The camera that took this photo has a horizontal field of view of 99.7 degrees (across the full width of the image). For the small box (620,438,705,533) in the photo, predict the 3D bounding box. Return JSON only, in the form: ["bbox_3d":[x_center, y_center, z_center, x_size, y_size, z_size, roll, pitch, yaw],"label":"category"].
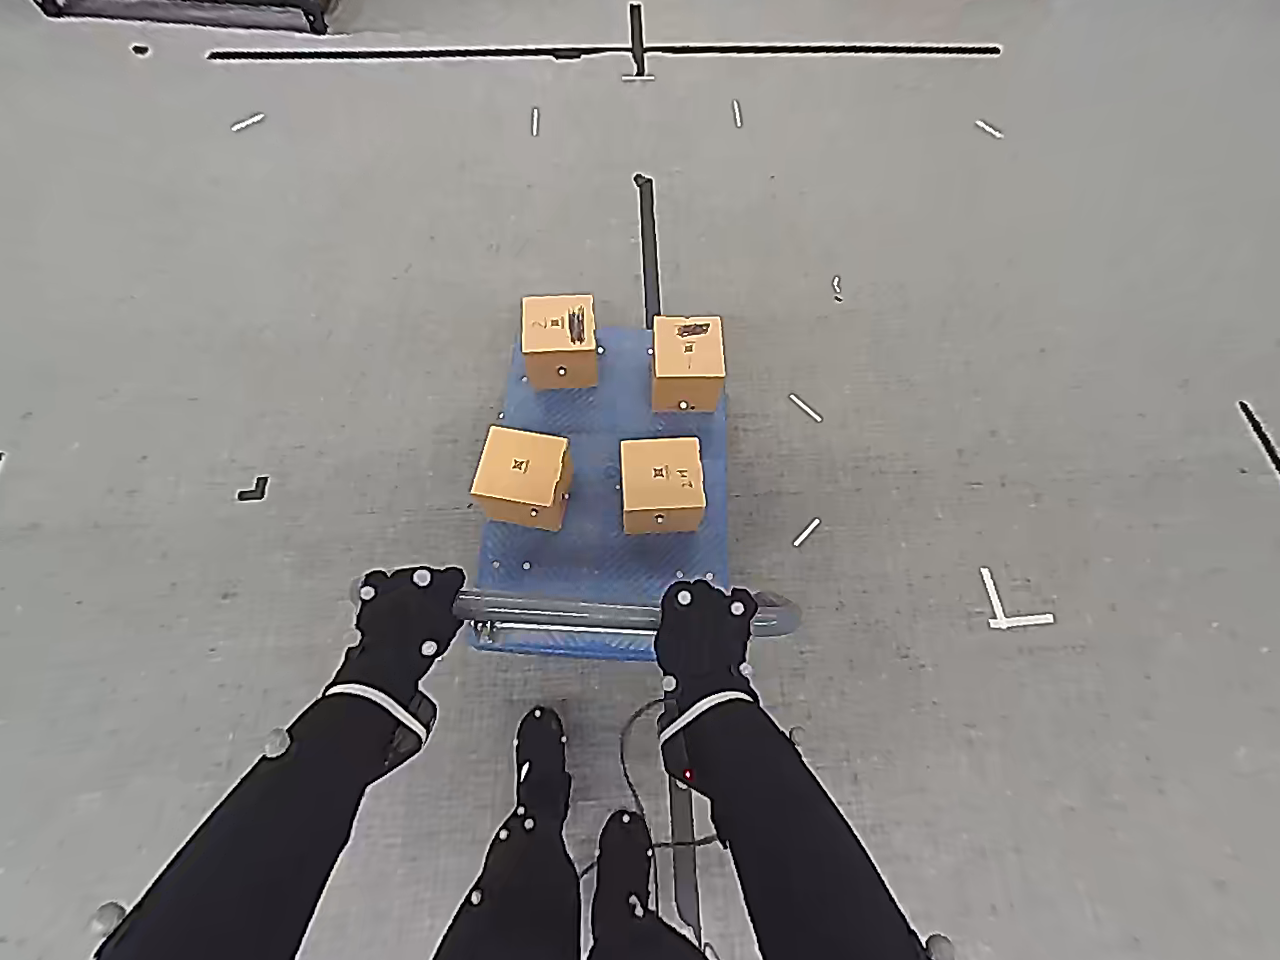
[{"bbox_3d":[0.047,0.018,1.226,0.179,0.176,0.168,-2,68,-2],"label":"small box"}]

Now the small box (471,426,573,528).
[{"bbox_3d":[-0.258,0.000,1.225,0.179,0.176,0.168,10,67,1],"label":"small box"}]

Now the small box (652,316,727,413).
[{"bbox_3d":[0.117,-0.287,1.354,0.168,0.176,0.179,0,68,-2],"label":"small box"}]
